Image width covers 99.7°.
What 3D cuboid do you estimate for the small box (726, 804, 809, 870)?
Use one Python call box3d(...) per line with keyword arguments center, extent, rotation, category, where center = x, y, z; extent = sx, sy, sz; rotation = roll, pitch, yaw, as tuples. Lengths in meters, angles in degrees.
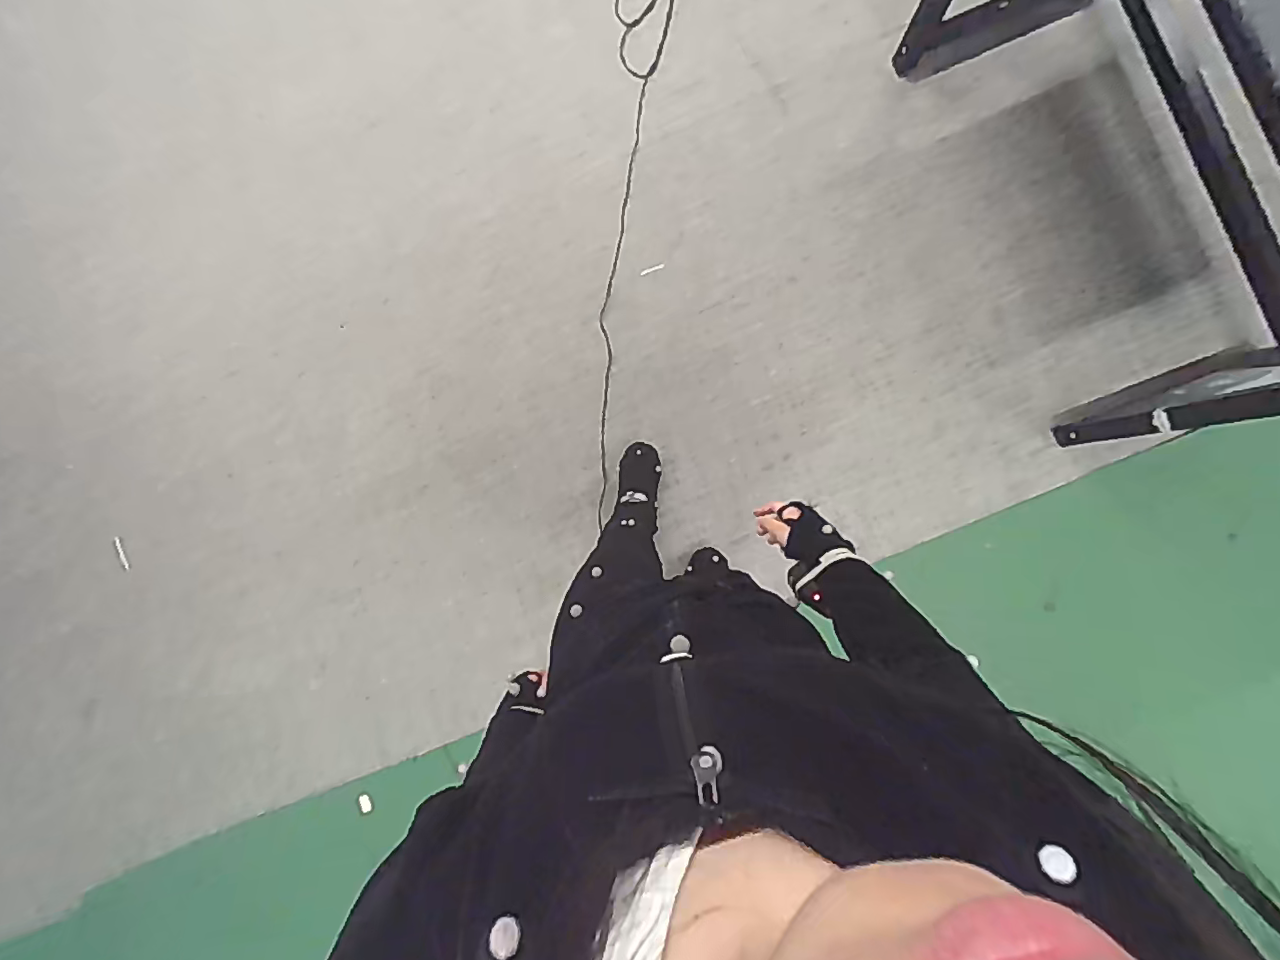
box3d(center=(0.327, 0.961, 1.349), extent=(0.168, 0.176, 0.179), rotation=(-23, 87, 0), category="small box")
